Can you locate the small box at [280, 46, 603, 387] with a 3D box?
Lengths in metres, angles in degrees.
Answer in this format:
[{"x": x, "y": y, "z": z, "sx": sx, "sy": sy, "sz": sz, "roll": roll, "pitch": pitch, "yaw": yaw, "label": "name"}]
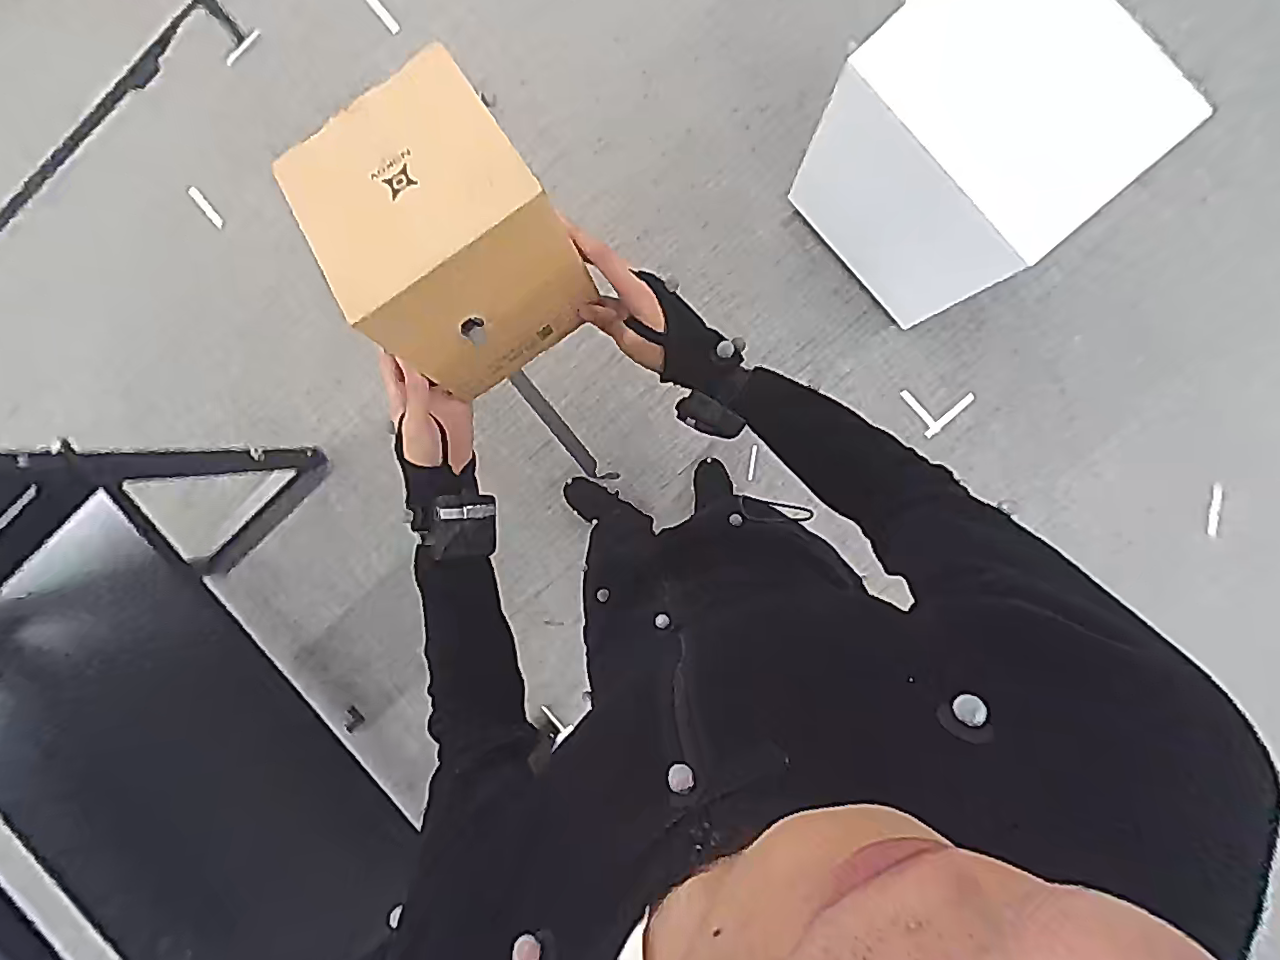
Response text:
[{"x": -0.154, "y": -0.202, "z": 0.470, "sx": 0.168, "sy": 0.176, "sz": 0.179, "roll": -33, "pitch": 74, "yaw": 4, "label": "small box"}]
